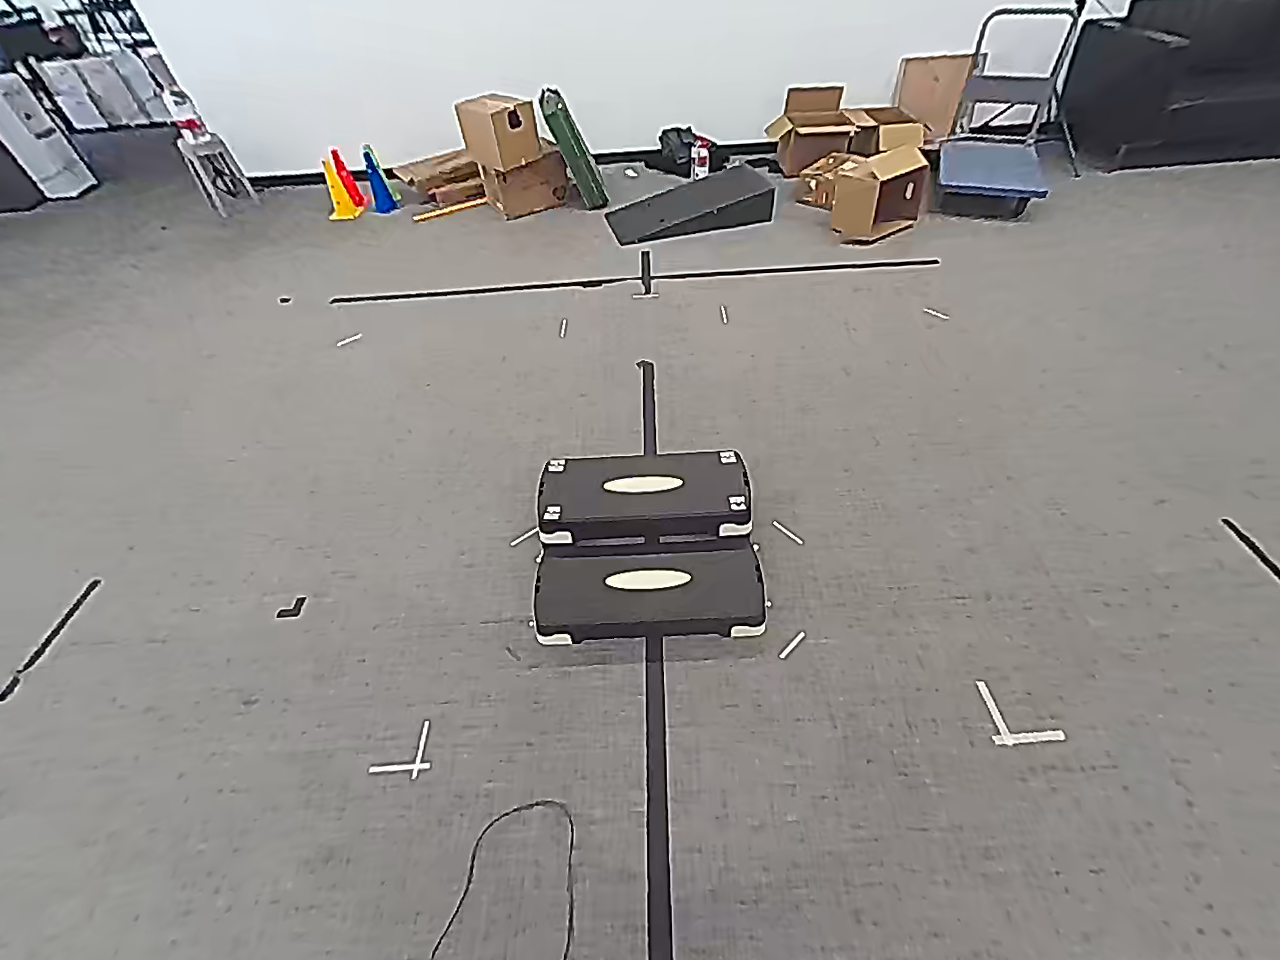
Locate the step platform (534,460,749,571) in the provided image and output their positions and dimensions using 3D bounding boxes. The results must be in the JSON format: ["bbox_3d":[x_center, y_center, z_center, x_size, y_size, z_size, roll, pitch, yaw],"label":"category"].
[{"bbox_3d":[0.003,0.107,1.751,0.684,0.204,0.286,-3,48,0],"label":"step platform"}]
